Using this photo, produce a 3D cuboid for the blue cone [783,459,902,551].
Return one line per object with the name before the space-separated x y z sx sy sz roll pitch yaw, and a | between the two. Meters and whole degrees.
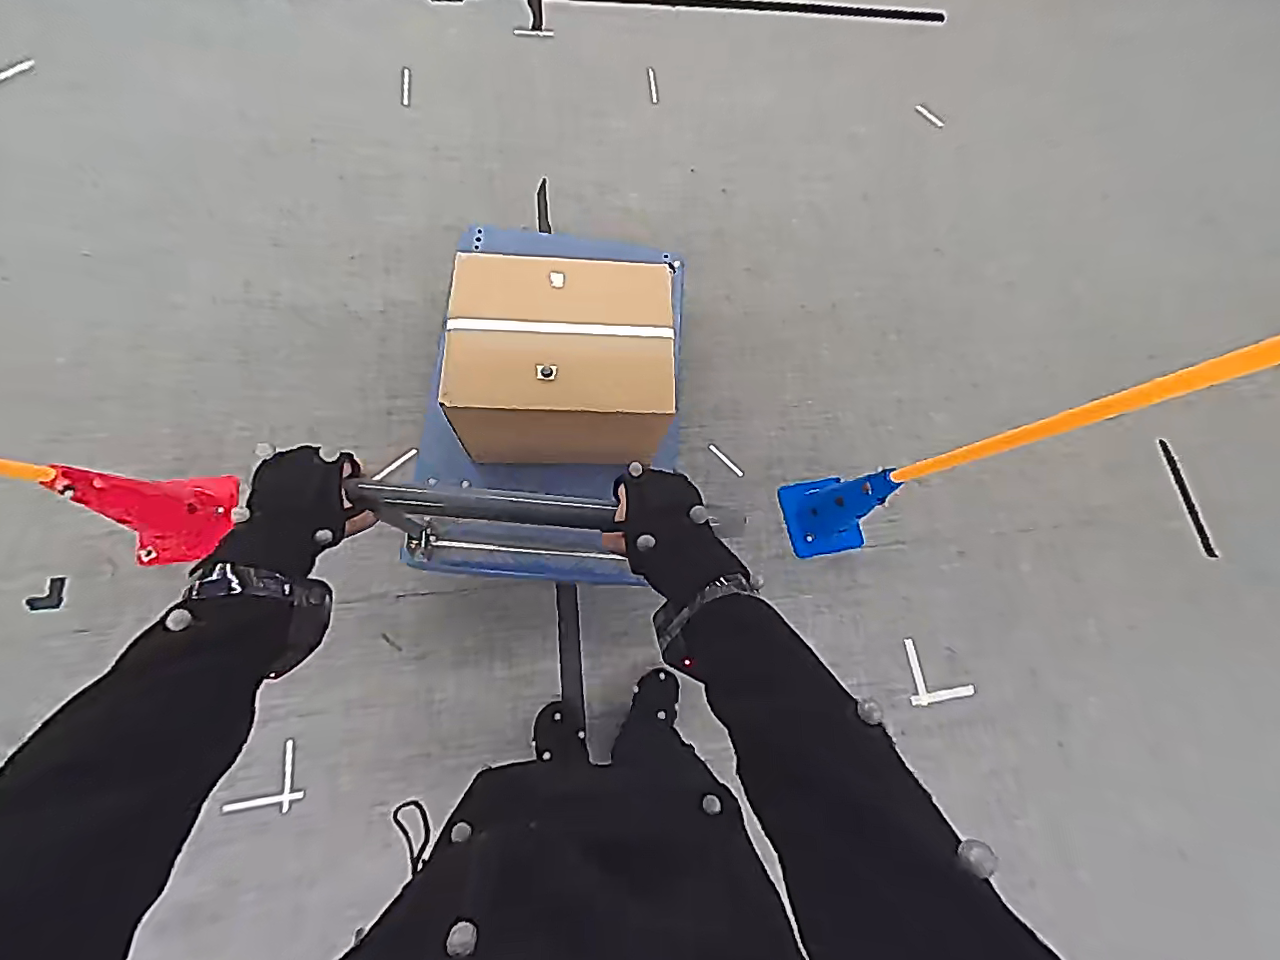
blue cone | 0.507 0.039 1.289 0.193 0.380 0.192 -8 73 -10
